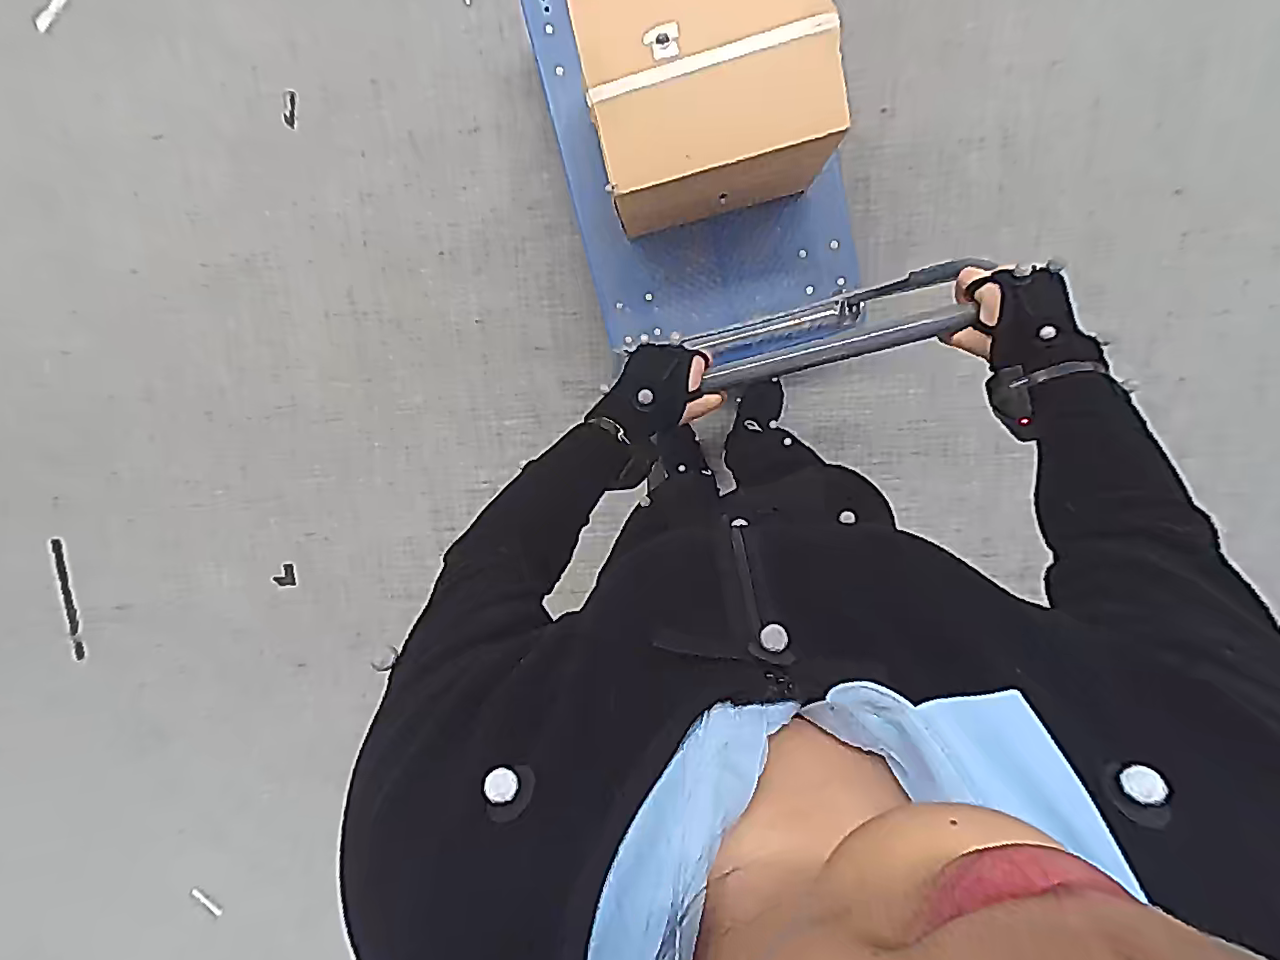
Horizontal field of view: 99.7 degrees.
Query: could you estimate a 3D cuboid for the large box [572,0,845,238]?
[{"bbox_3d":[0.127,-0.709,1.041,0.408,0.320,0.320,-13,99,7],"label":"large box"}]
